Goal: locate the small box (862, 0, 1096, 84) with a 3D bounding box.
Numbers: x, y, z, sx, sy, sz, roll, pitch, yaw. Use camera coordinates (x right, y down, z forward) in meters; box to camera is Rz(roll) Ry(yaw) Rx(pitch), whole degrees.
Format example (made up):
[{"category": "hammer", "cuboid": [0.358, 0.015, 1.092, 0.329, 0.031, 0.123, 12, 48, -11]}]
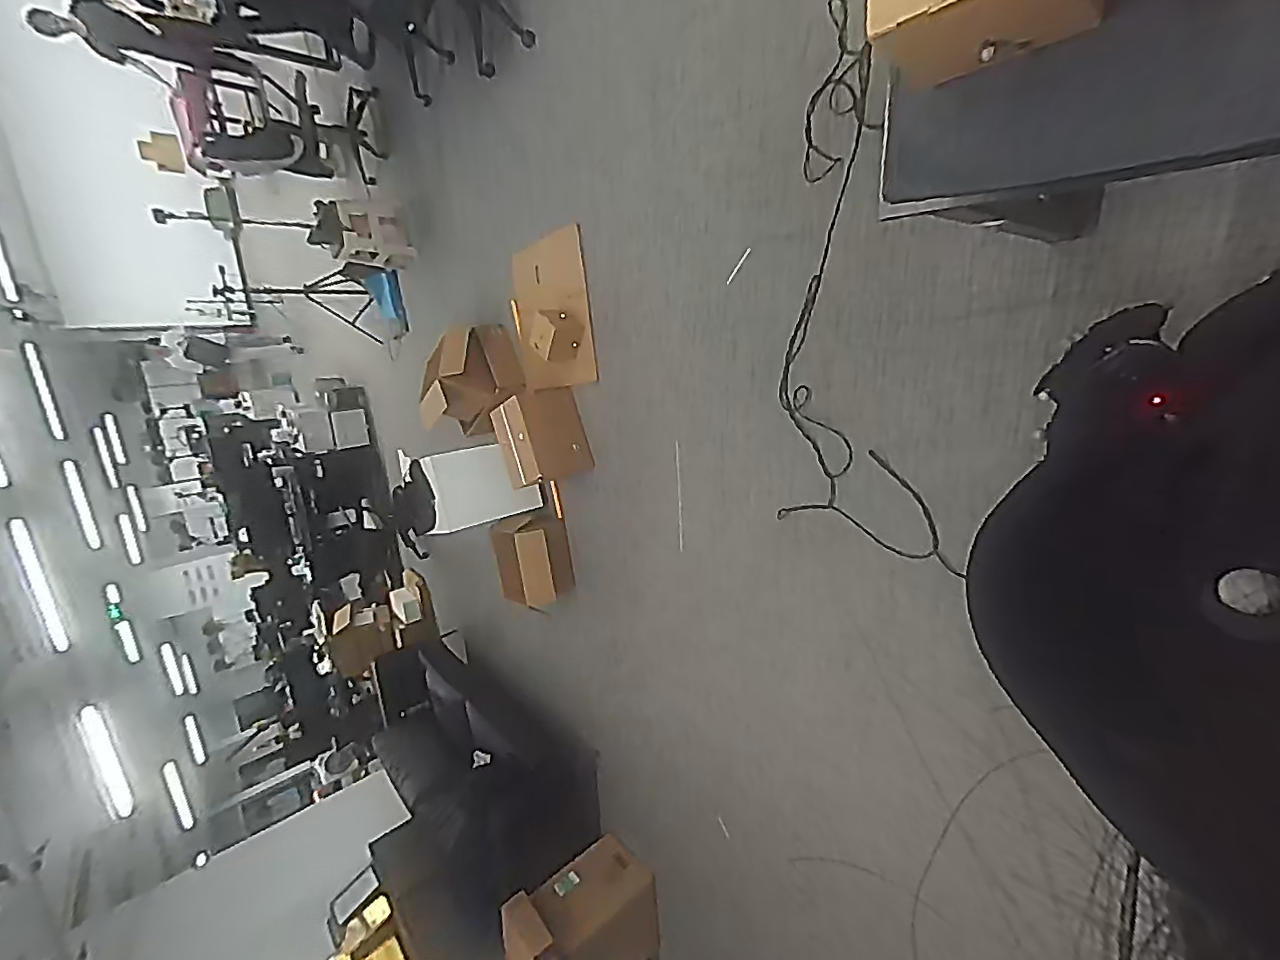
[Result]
[{"category": "small box", "cuboid": [0.339, -0.536, 0.529, 0.168, 0.176, 0.179, 12, 109, 46]}]
